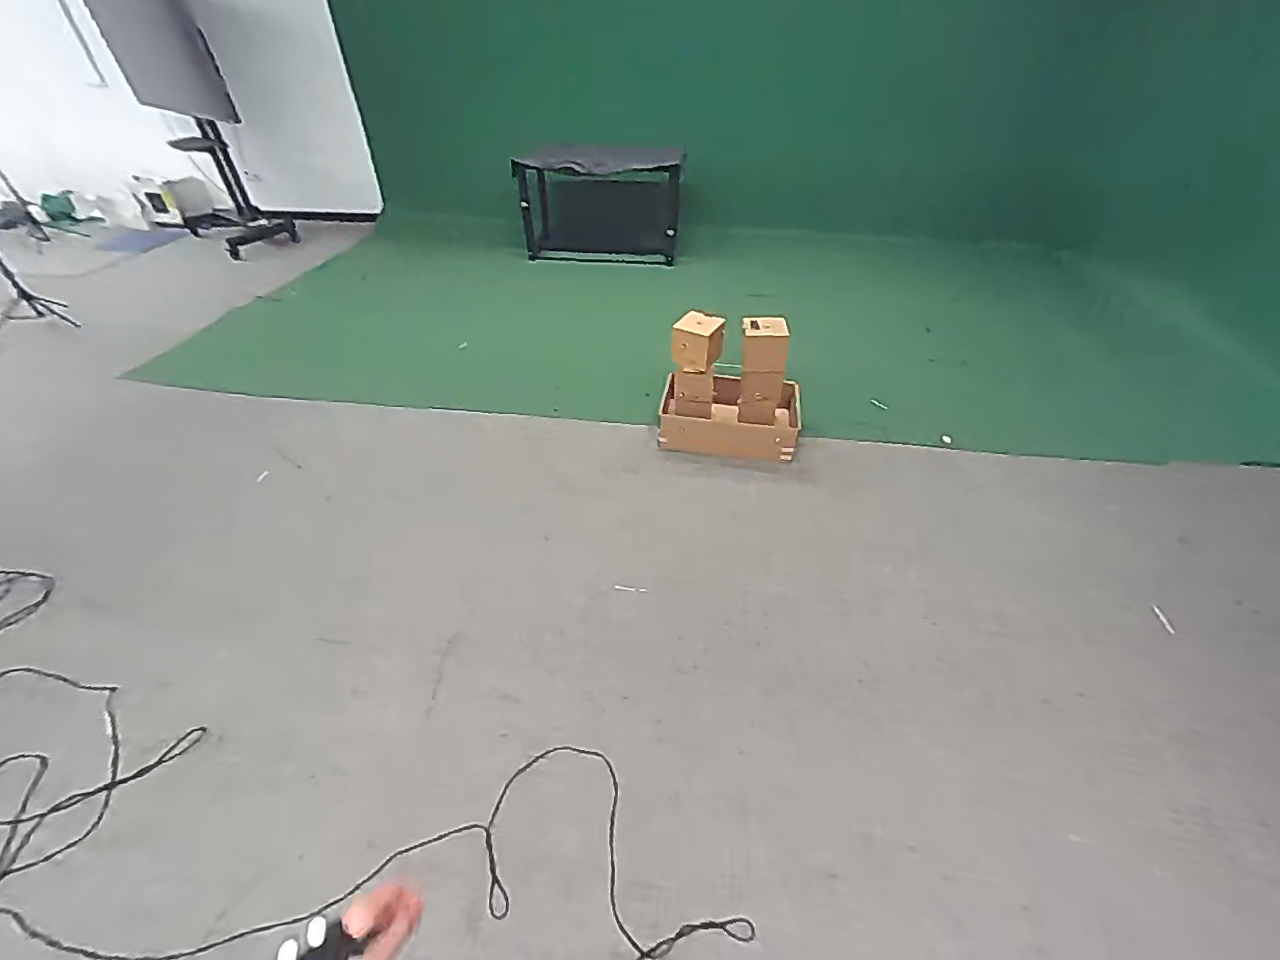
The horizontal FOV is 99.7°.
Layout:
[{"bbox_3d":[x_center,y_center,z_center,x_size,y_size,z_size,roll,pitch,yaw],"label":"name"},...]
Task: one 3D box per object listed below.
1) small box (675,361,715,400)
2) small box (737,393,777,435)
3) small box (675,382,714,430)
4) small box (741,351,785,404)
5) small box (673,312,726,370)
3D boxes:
[{"bbox_3d":[0.248,-0.474,2.411,0.168,0.176,0.179,7,41,6],"label":"small box"},{"bbox_3d":[0.544,-0.335,2.508,0.168,0.176,0.179,9,42,11],"label":"small box"},{"bbox_3d":[0.253,-0.357,2.527,0.168,0.176,0.179,5,42,6],"label":"small box"},{"bbox_3d":[0.541,-0.456,2.399,0.168,0.176,0.179,1,43,5],"label":"small box"},{"bbox_3d":[0.251,-0.591,2.298,0.168,0.176,0.179,22,45,22],"label":"small box"}]
